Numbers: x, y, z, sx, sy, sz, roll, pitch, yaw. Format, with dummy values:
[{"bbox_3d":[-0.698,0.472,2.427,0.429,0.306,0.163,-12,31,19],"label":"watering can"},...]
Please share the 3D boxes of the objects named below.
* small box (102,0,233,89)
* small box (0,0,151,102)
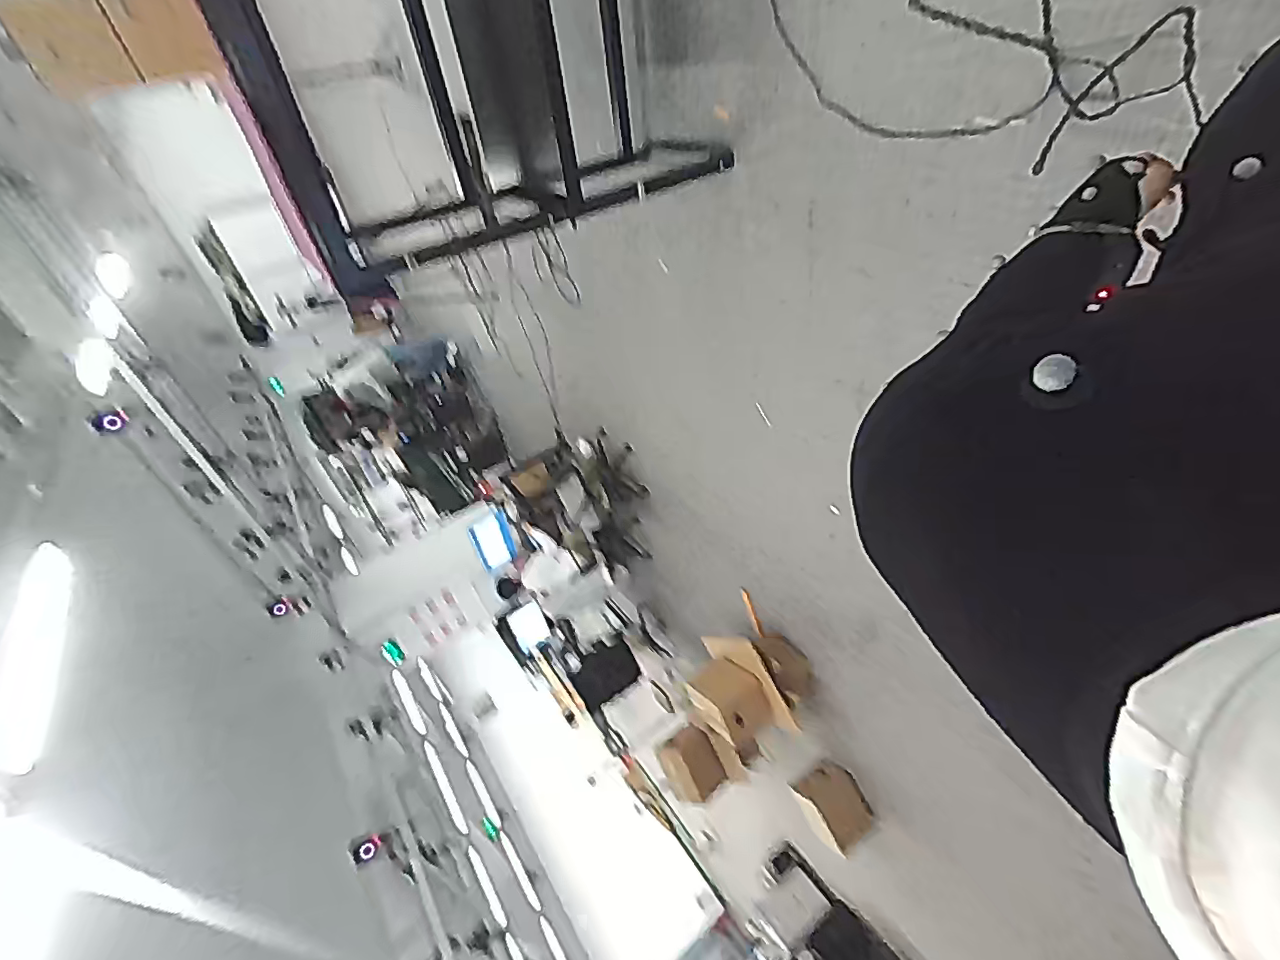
[{"bbox_3d":[-1.036,-0.985,1.192,0.168,0.176,0.179,39,149,42],"label":"small box"},{"bbox_3d":[-1.171,-0.913,1.130,0.168,0.176,0.179,40,149,41],"label":"small box"}]
